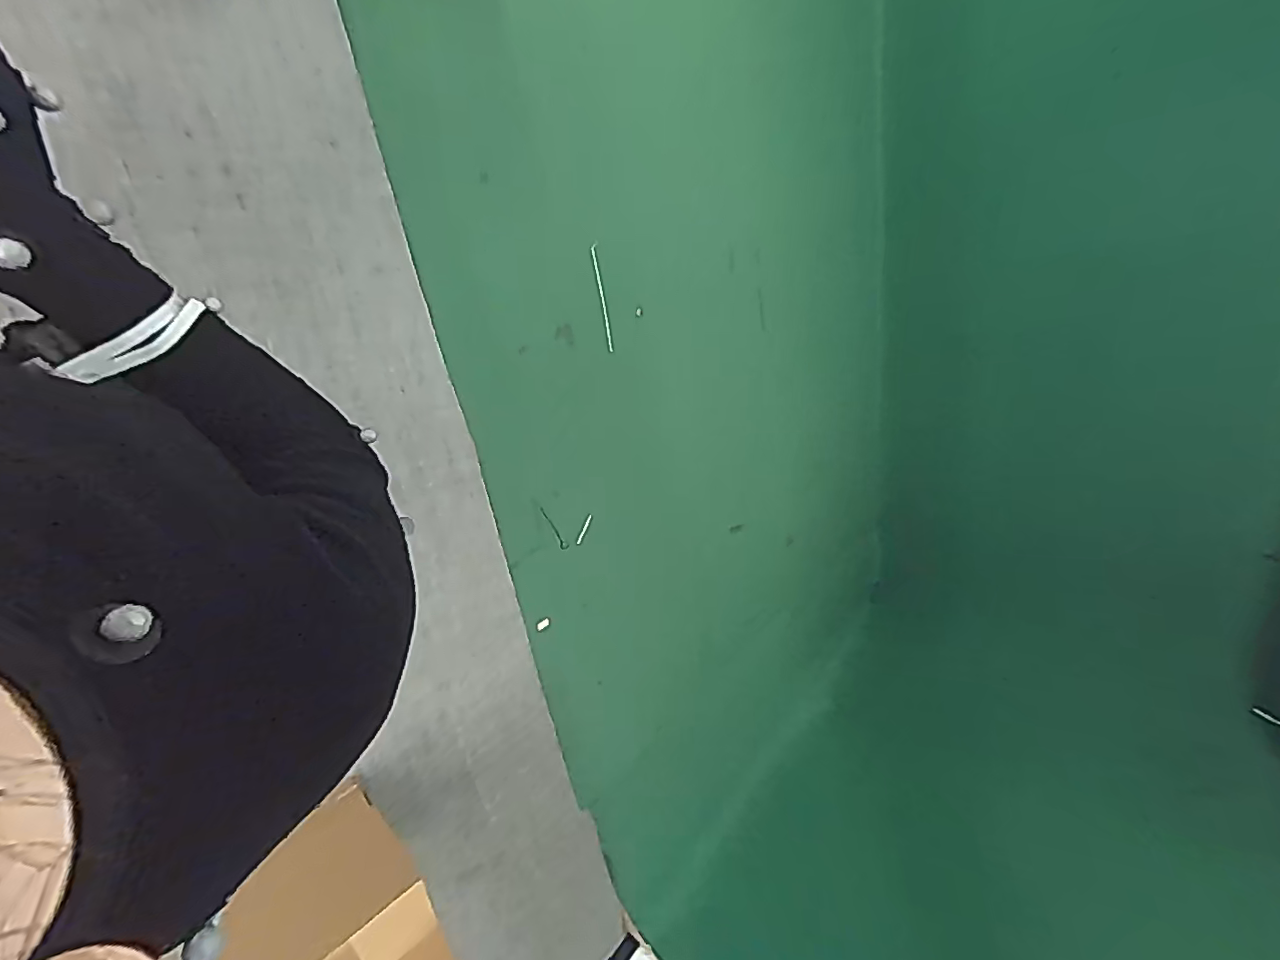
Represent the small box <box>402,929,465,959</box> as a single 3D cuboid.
[{"bbox_3d":[-0.461,1.158,1.187,0.179,0.176,0.168,-17,110,-42],"label":"small box"}]
